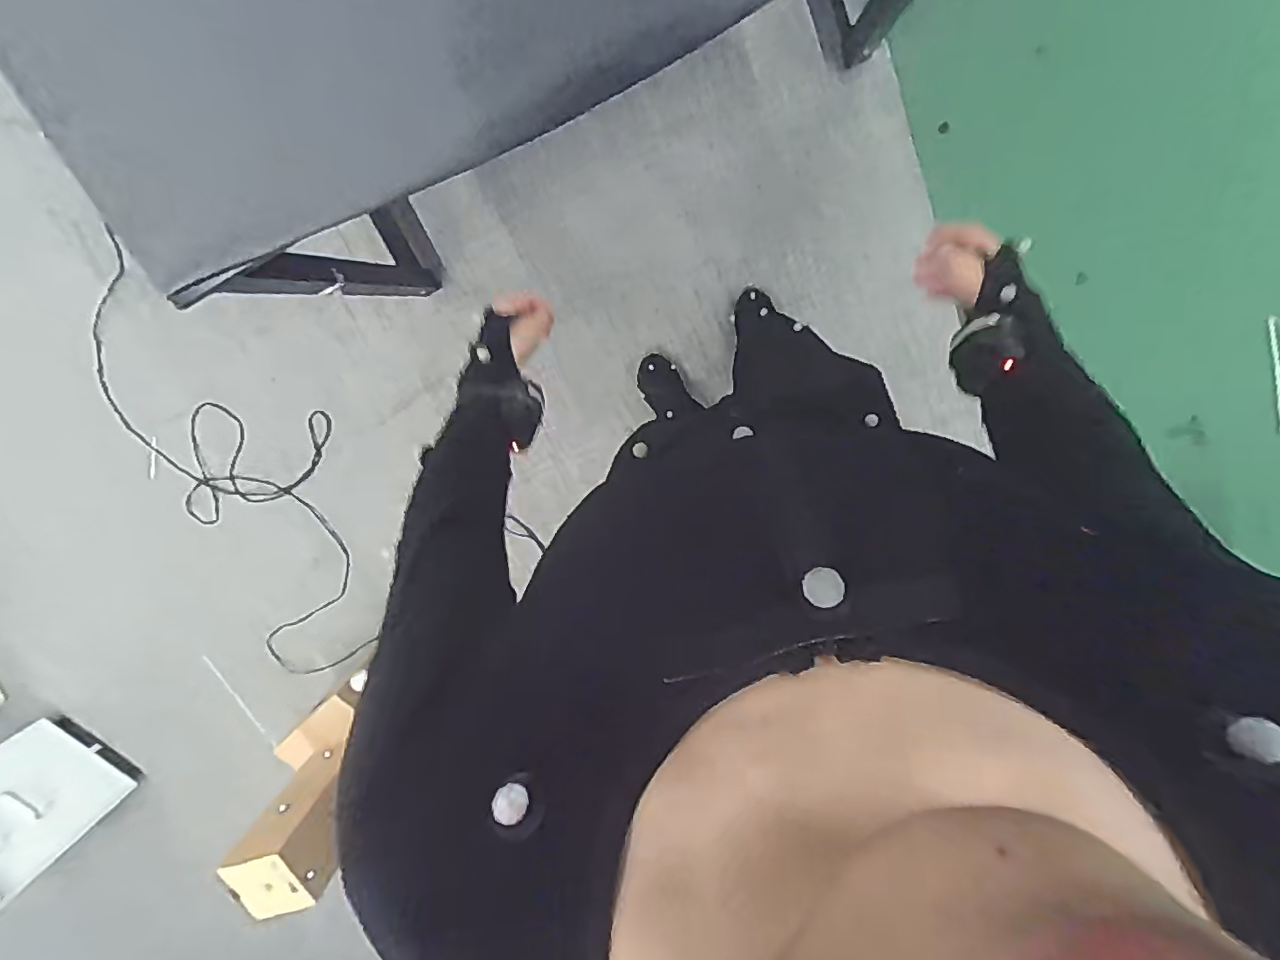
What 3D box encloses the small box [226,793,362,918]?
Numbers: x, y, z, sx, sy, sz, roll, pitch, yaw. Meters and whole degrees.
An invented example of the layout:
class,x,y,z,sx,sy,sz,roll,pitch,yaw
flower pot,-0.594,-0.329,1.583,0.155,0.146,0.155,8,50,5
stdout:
class,x,y,z,sx,sy,sz,roll,pitch,yaw
small box,-0.814,0.889,1.289,0.179,0.176,0.168,-21,106,12
